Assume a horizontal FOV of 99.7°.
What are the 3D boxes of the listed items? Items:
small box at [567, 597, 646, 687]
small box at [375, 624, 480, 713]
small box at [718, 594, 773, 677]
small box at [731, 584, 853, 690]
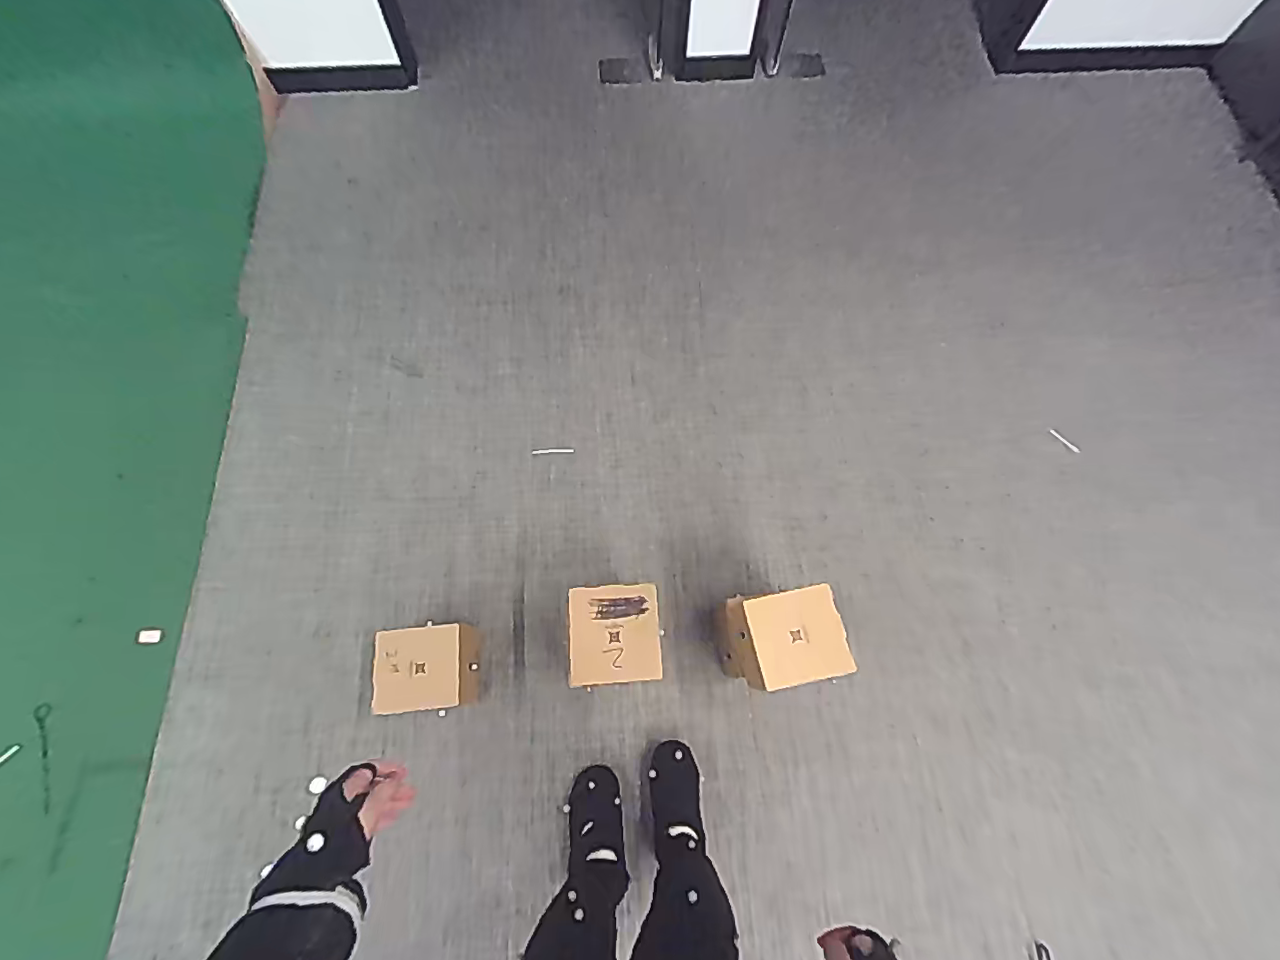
[{"bbox_3d":[-0.073,0.367,1.222,0.168,0.176,0.179,-4,70,-3],"label":"small box"},{"bbox_3d":[-0.459,0.416,1.198,0.179,0.176,0.168,-5,70,-3],"label":"small box"},{"bbox_3d":[0.280,0.356,1.234,0.179,0.176,0.168,-6,71,-4],"label":"small box"},{"bbox_3d":[0.288,0.316,1.076,0.179,0.176,0.168,-11,71,-5],"label":"small box"}]
